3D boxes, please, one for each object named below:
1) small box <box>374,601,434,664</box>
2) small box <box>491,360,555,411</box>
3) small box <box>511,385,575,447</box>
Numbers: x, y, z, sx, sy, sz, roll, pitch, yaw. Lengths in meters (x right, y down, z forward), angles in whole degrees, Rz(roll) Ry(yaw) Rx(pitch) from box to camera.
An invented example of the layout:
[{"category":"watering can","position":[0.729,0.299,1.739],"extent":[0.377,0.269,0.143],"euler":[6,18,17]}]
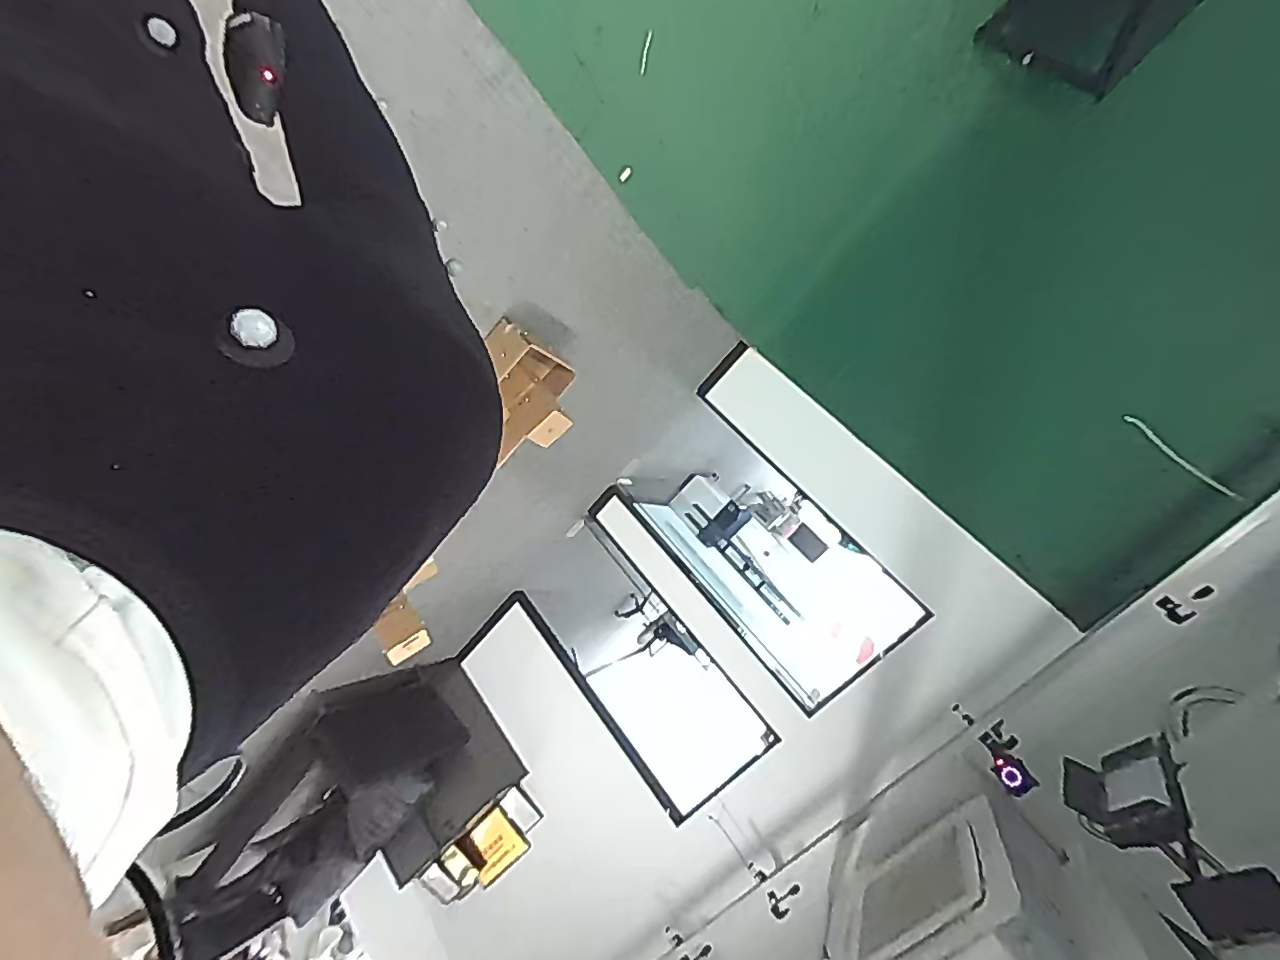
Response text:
[{"category":"small box","position":[-0.997,0.638,2.280],"extent":[0.168,0.176,0.179],"euler":[-31,156,-28]},{"category":"small box","position":[-0.507,-0.392,2.337],"extent":[0.168,0.176,0.179],"euler":[-42,158,10]},{"category":"small box","position":[-0.409,-0.272,2.284],"extent":[0.168,0.176,0.179],"euler":[-42,158,6]}]
